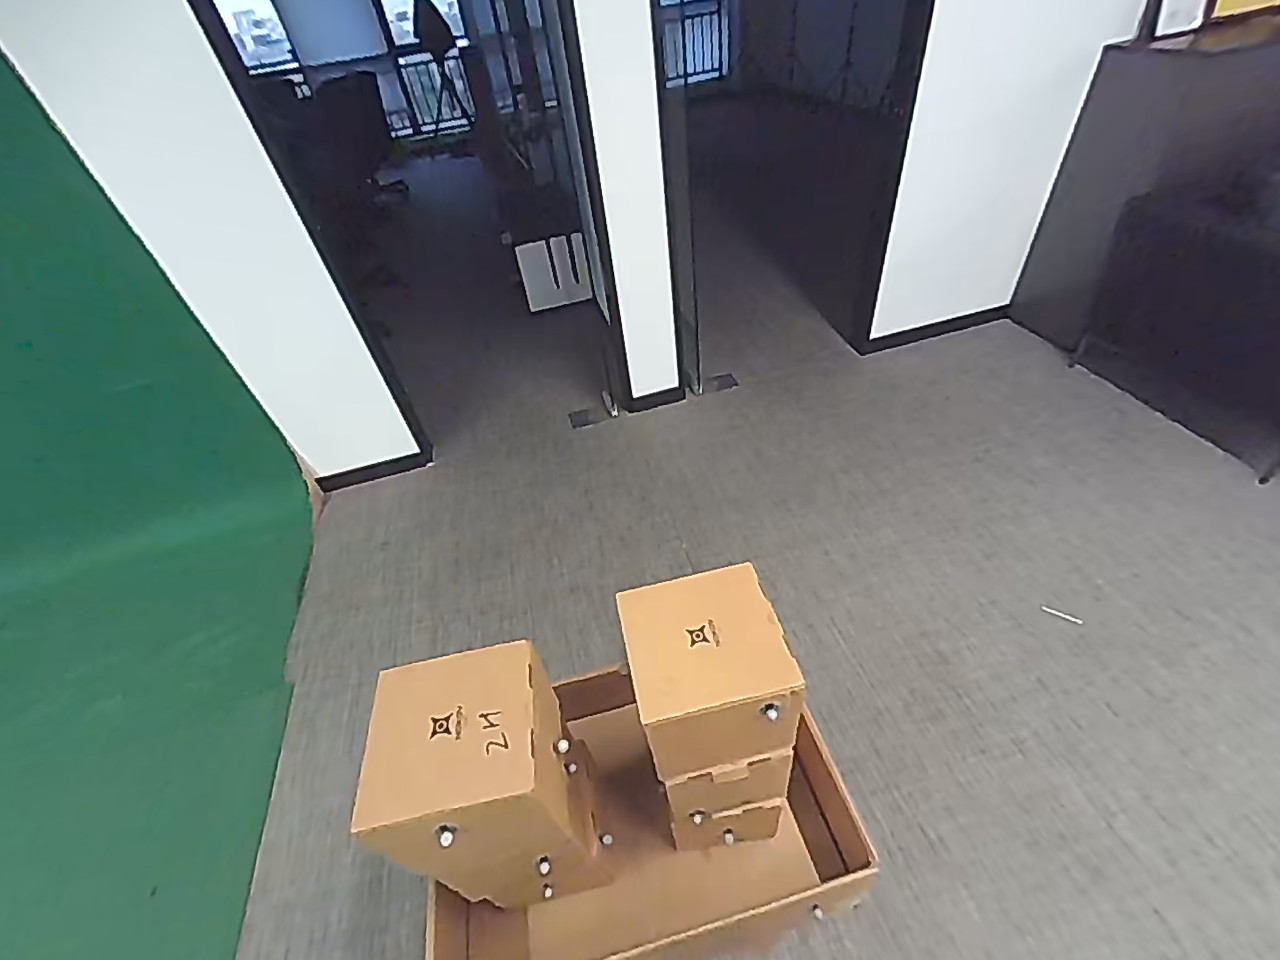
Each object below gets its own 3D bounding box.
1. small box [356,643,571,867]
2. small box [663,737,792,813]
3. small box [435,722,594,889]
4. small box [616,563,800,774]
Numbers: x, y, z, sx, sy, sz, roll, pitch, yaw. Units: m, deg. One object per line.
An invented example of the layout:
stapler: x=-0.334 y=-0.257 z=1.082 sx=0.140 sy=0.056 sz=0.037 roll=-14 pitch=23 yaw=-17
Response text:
small box: x=-0.187 y=0.319 z=0.624 sx=0.179 sy=0.176 sz=0.168 roll=-12 pitch=44 yaw=-2
small box: x=0.107 y=0.350 z=0.774 sx=0.168 sy=0.176 sz=0.179 roll=-13 pitch=42 yaw=-2
small box: x=-0.166 y=0.432 z=0.742 sx=0.168 sy=0.176 sz=0.179 roll=-14 pitch=43 yaw=-4
small box: x=0.080 y=0.234 z=0.664 sx=0.179 sy=0.176 sz=0.168 roll=-13 pitch=43 yaw=-3
